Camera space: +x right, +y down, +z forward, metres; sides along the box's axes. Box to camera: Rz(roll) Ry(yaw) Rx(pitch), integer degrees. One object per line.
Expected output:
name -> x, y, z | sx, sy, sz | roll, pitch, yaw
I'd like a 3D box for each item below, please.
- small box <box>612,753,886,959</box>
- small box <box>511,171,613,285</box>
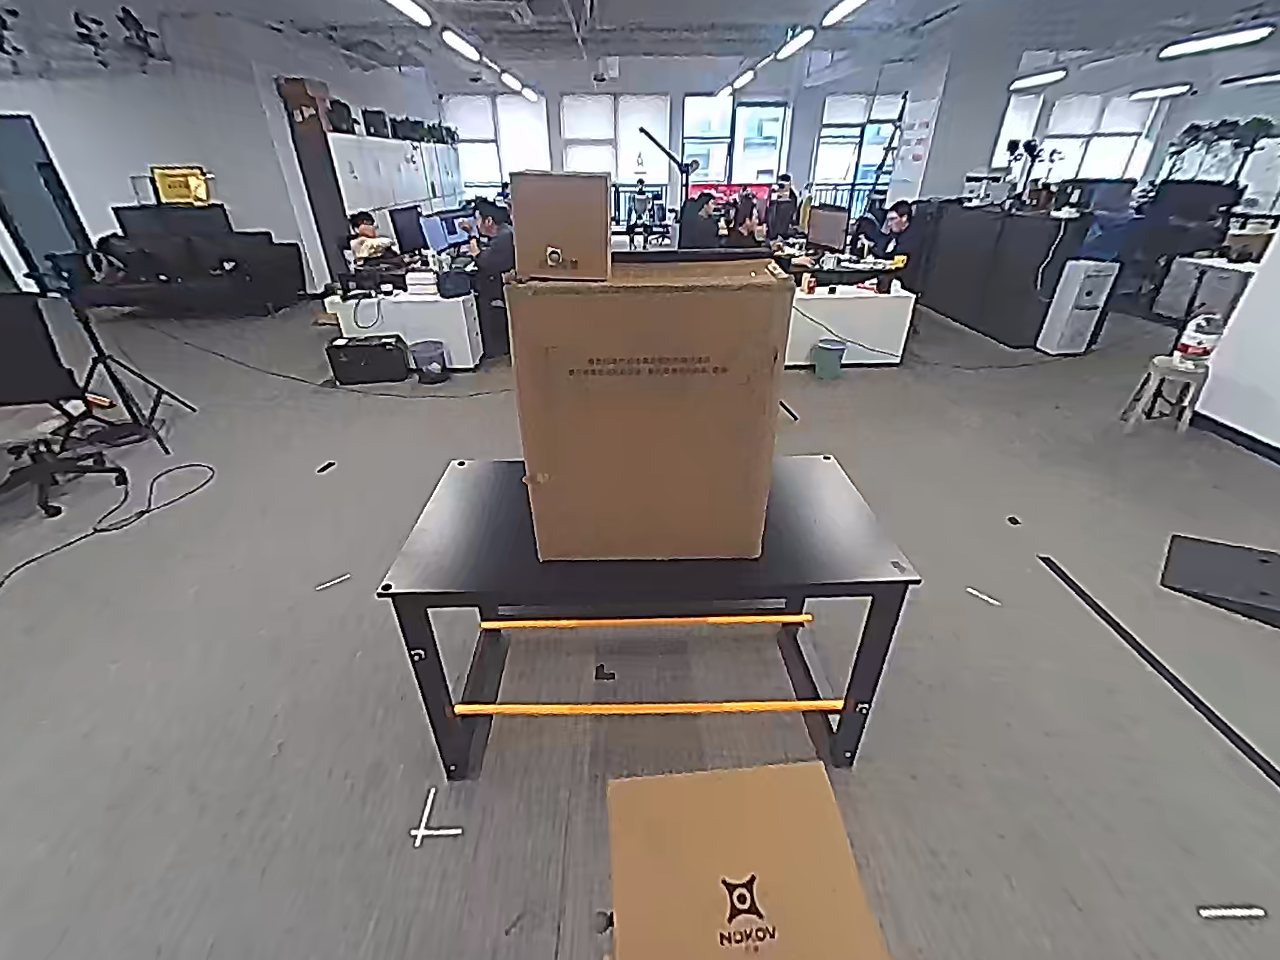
small box -> 0.064, 0.331, 0.401 | 0.168, 0.176, 0.179 | -4, 42, -4
small box -> -0.134, -0.467, 0.996 | 0.168, 0.176, 0.179 | 0, 32, -2
